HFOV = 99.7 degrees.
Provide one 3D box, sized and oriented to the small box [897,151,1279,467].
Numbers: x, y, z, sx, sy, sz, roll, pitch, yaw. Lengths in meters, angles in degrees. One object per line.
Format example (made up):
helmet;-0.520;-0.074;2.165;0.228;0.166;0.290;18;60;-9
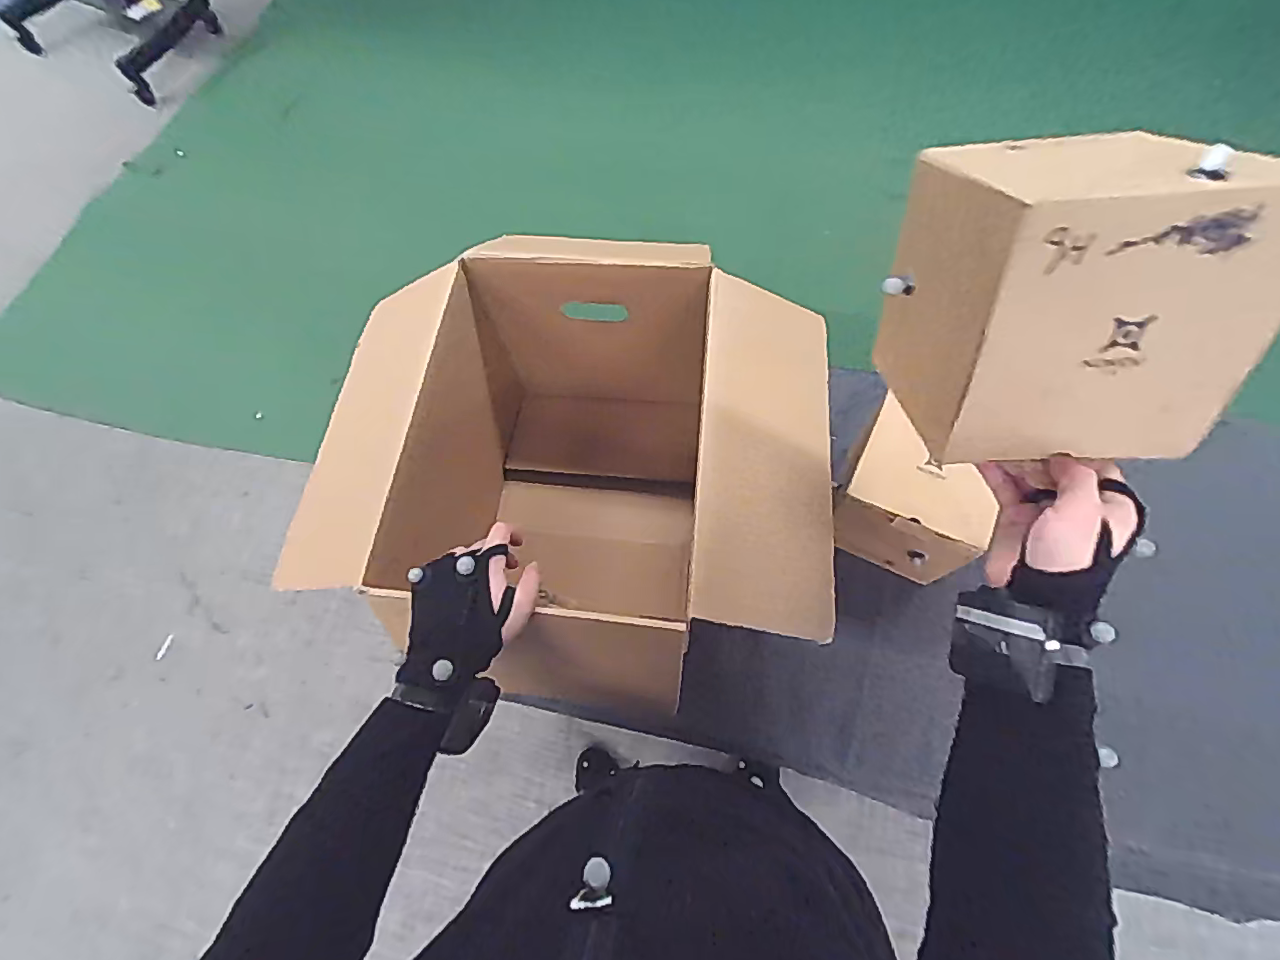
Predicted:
small box;0.310;-0.128;0.402;0.168;0.179;0.176;0;38;6

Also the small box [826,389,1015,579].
small box;0.372;0.014;0.740;0.168;0.176;0.179;25;70;12
